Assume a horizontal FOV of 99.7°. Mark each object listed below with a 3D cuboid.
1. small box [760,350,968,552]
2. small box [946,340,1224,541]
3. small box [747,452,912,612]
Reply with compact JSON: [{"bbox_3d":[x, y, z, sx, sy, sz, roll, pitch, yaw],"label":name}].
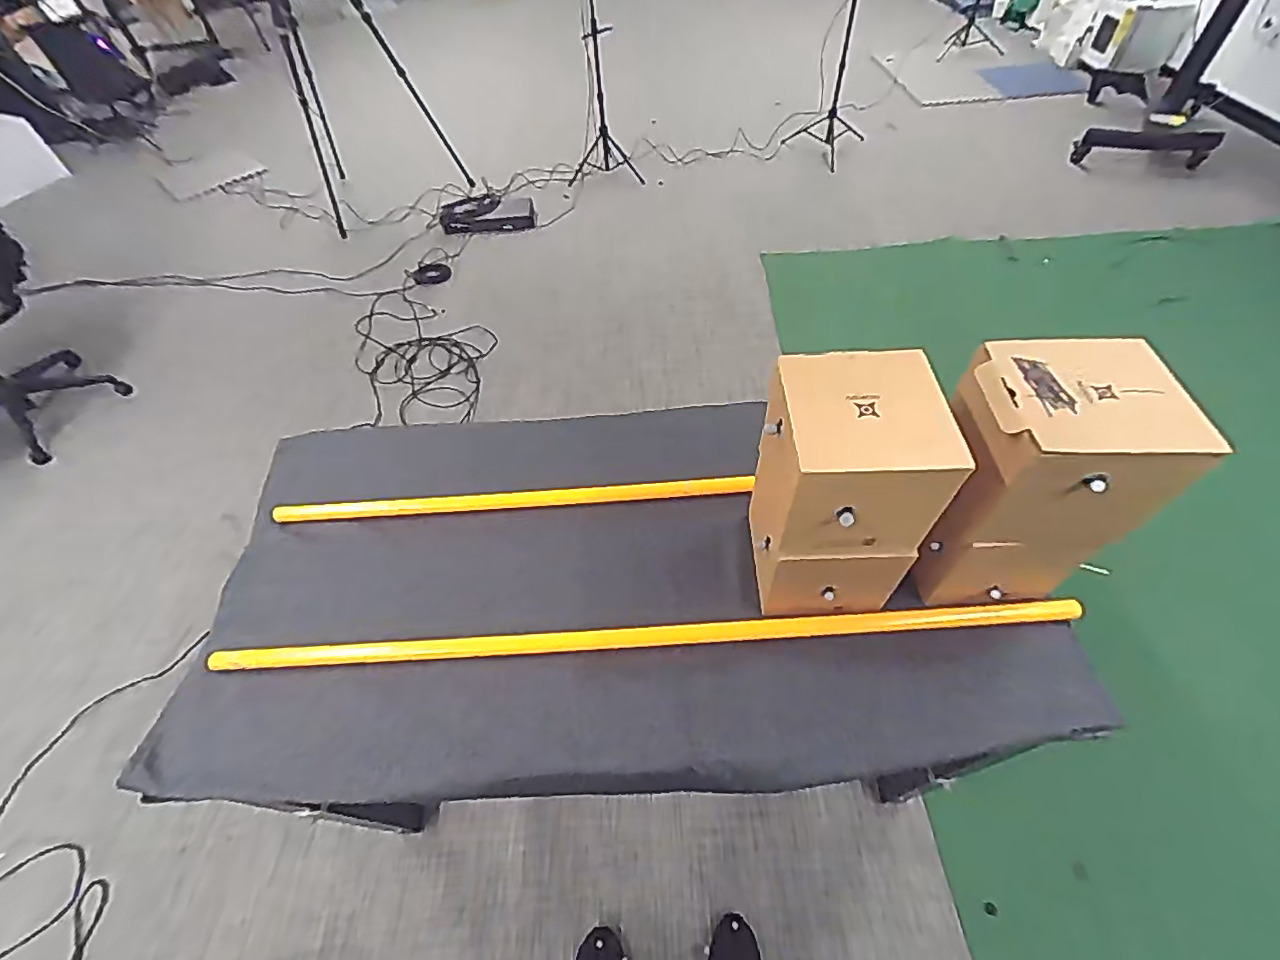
[{"bbox_3d":[0.238,-0.026,0.628,0.168,0.176,0.179,-2,52,3],"label":"small box"},{"bbox_3d":[0.467,-0.040,0.619,0.179,0.176,0.168,0,54,3],"label":"small box"},{"bbox_3d":[0.247,0.075,0.754,0.168,0.176,0.179,-2,53,2],"label":"small box"}]
